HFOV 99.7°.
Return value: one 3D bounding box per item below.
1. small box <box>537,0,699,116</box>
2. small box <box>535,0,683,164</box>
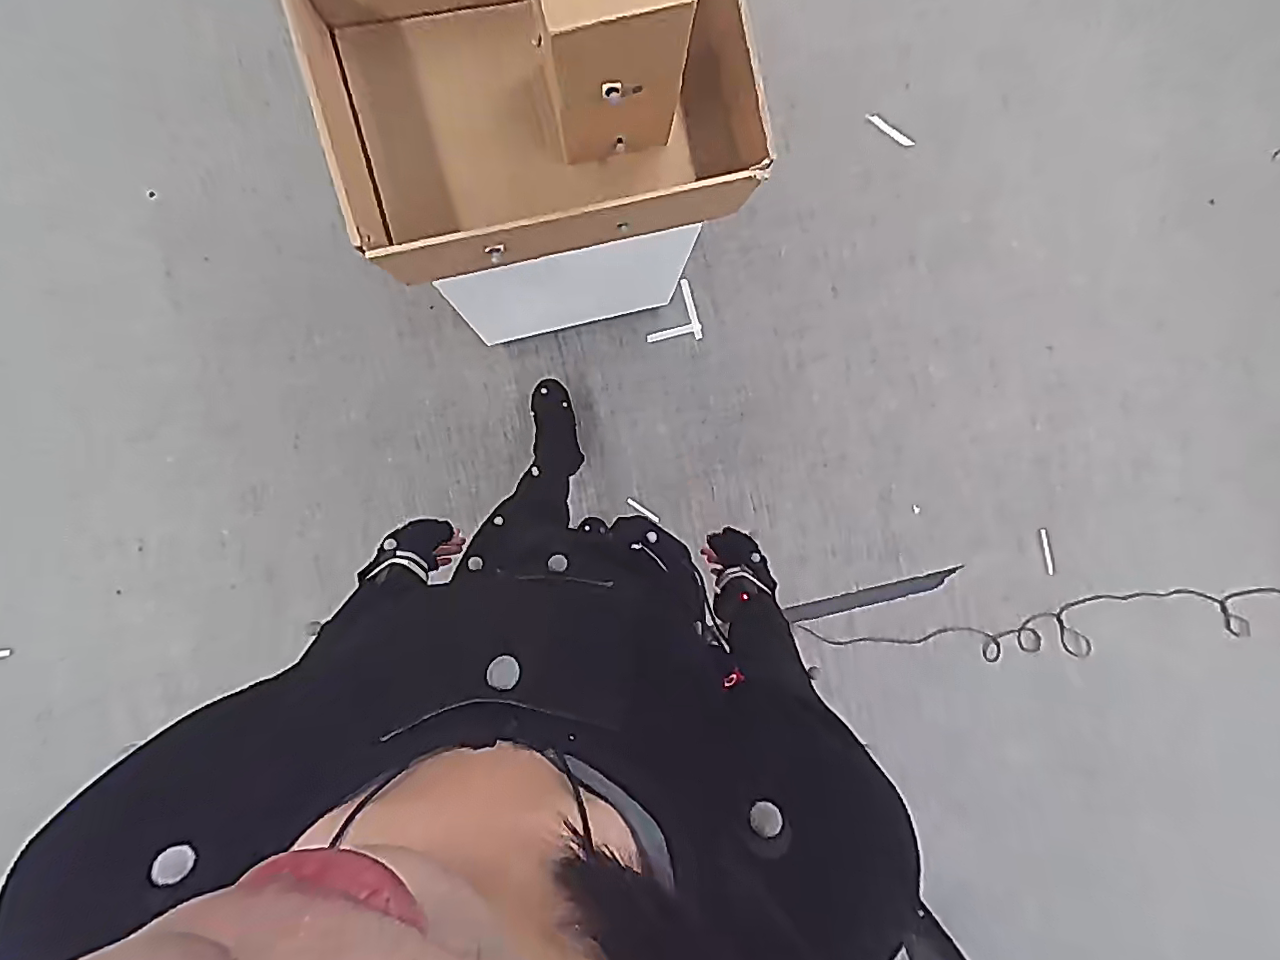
[{"bbox_3d":[-0.038,-0.583,0.644,0.168,0.176,0.179,-14,98,0],"label":"small box"},{"bbox_3d":[-0.048,-0.607,0.806,0.179,0.176,0.168,-14,96,-3],"label":"small box"}]
